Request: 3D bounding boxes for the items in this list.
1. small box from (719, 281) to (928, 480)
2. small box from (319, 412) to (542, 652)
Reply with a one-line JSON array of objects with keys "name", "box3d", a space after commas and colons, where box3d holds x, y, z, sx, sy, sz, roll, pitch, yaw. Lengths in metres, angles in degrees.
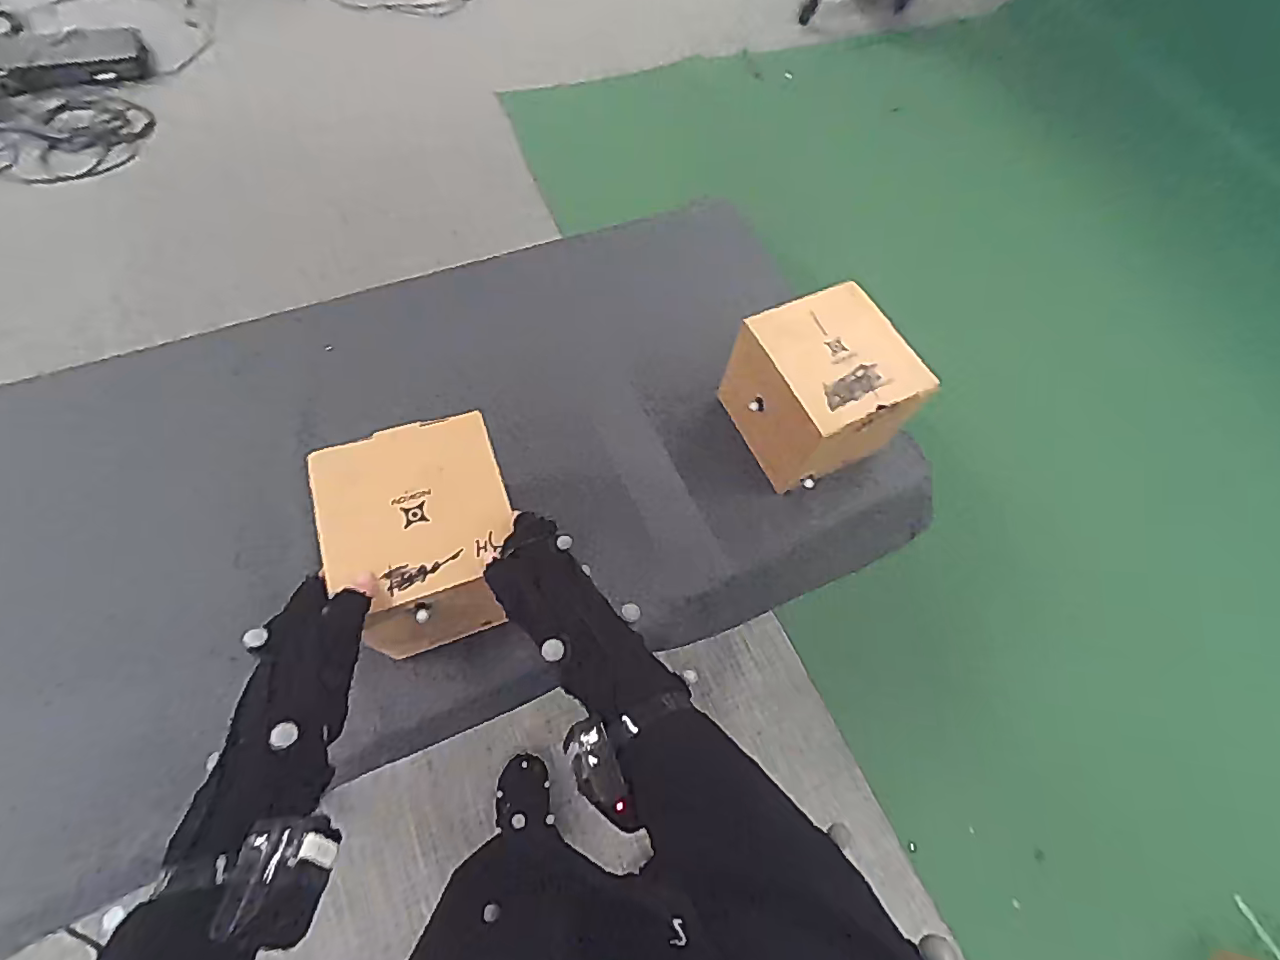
[{"name": "small box", "box3d": [0.223, -0.118, 0.710, 0.168, 0.176, 0.179, -23, 68, -13]}, {"name": "small box", "box3d": [-0.210, 0.060, 0.574, 0.168, 0.176, 0.179, -18, 66, -13]}]
